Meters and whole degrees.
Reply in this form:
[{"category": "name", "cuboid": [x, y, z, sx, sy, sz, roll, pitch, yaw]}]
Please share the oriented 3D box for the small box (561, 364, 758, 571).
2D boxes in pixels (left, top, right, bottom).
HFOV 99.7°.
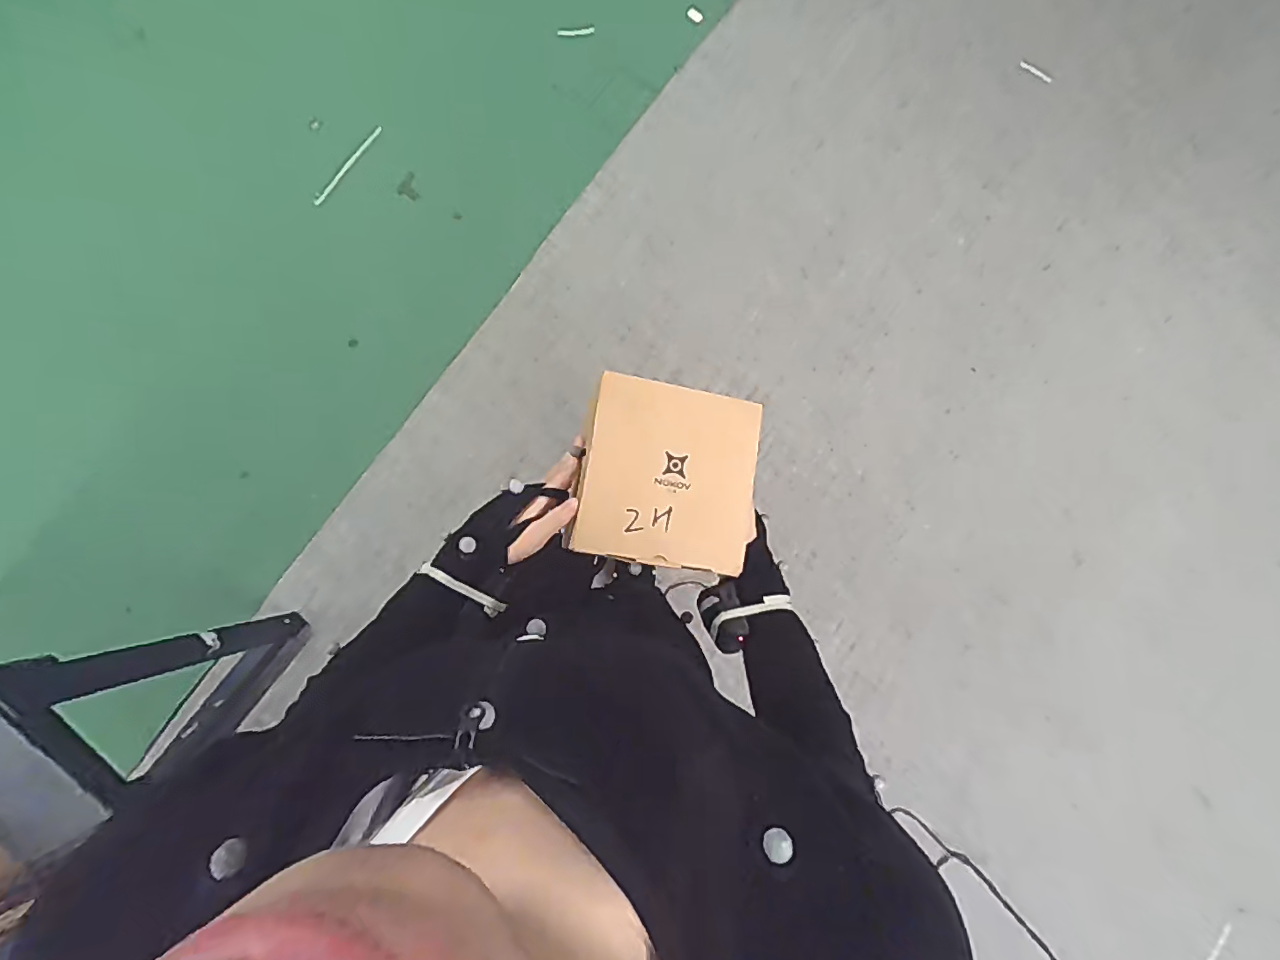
[{"category": "small box", "cuboid": [0.011, -0.002, 0.590, 0.168, 0.176, 0.179, 10, 82, -11]}]
